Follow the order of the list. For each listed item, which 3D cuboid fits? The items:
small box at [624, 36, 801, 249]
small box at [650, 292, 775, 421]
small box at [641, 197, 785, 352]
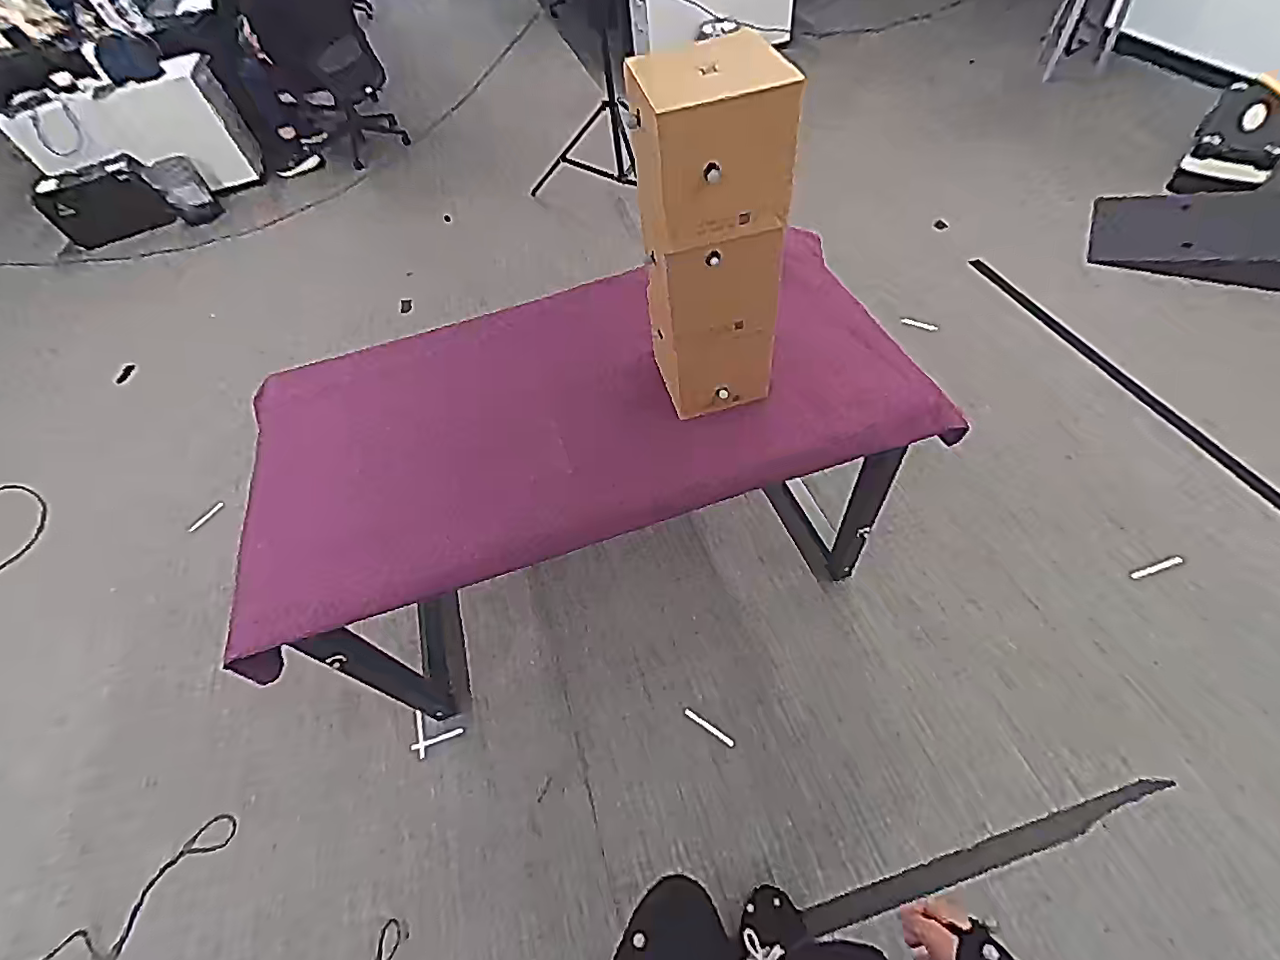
[{"bbox_3d":[0.087,-0.413,0.682,0.168,0.176,0.179,-15,54,-1],"label":"small box"},{"bbox_3d":[0.122,-0.234,0.953,0.168,0.176,0.179,-16,55,-3],"label":"small box"},{"bbox_3d":[0.104,-0.324,0.818,0.168,0.176,0.179,-14,53,-1],"label":"small box"}]
